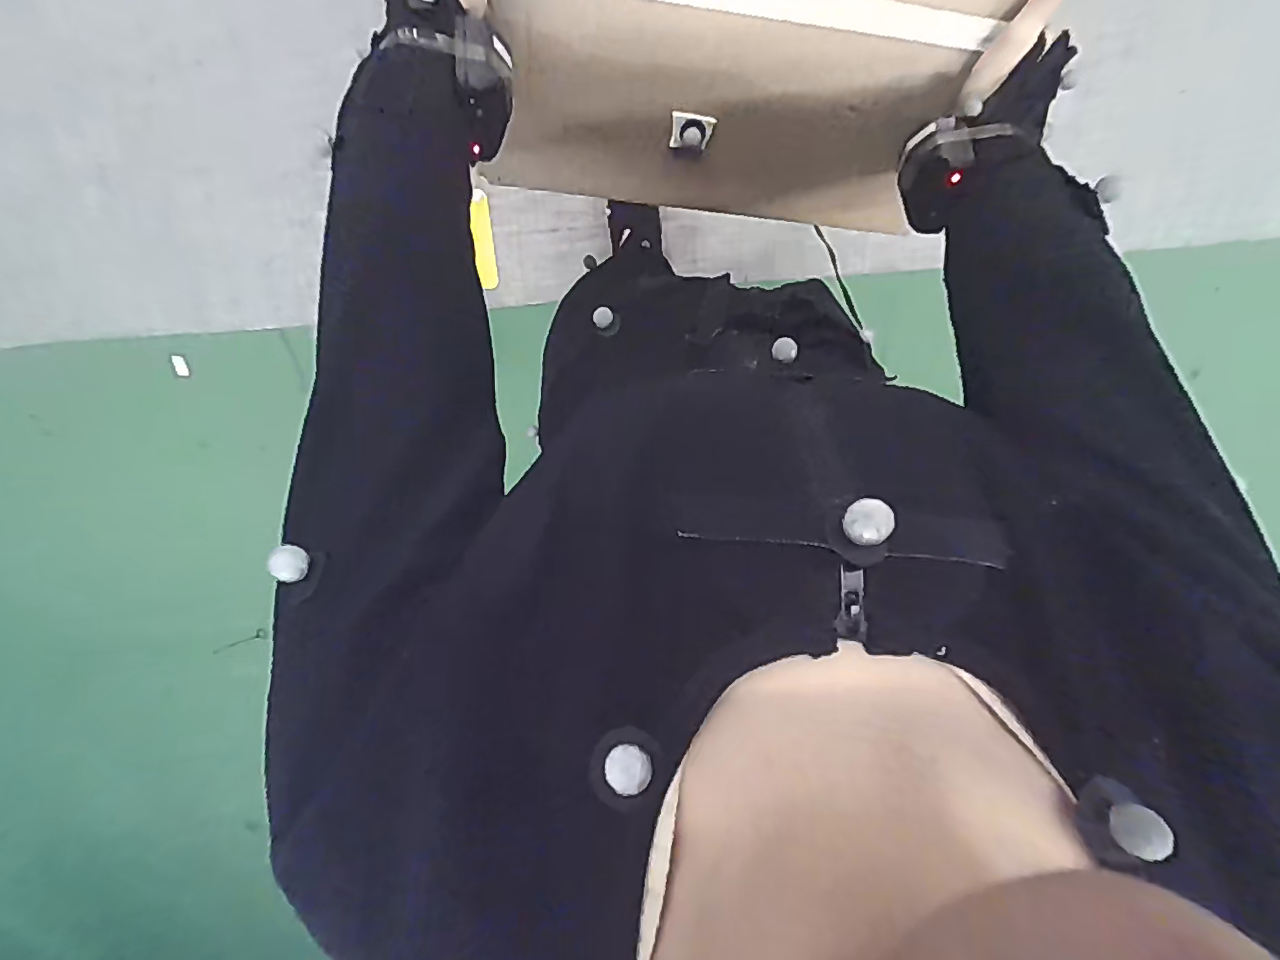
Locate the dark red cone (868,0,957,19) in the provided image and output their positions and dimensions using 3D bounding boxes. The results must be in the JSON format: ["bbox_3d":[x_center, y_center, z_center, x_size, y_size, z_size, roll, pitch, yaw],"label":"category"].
[{"bbox_3d":[0.490,-0.852,0.776,0.202,0.394,0.201,-11,117,5],"label":"dark red cone"}]
